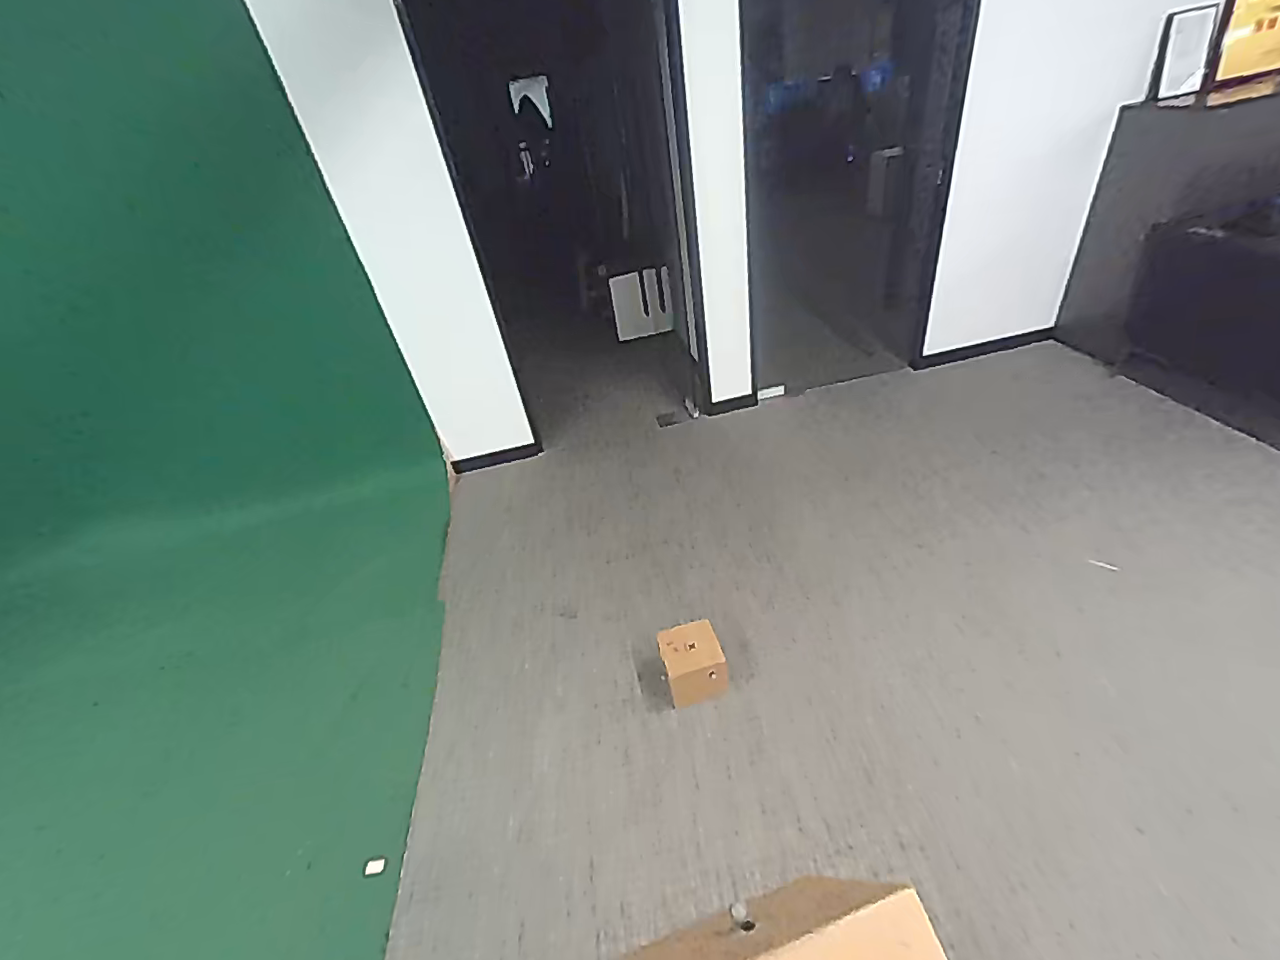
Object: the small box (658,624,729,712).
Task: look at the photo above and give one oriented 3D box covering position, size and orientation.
[{"bbox_3d":[0.164,0.577,1.655,0.179,0.176,0.168,-15,36,-6],"label":"small box"}]
